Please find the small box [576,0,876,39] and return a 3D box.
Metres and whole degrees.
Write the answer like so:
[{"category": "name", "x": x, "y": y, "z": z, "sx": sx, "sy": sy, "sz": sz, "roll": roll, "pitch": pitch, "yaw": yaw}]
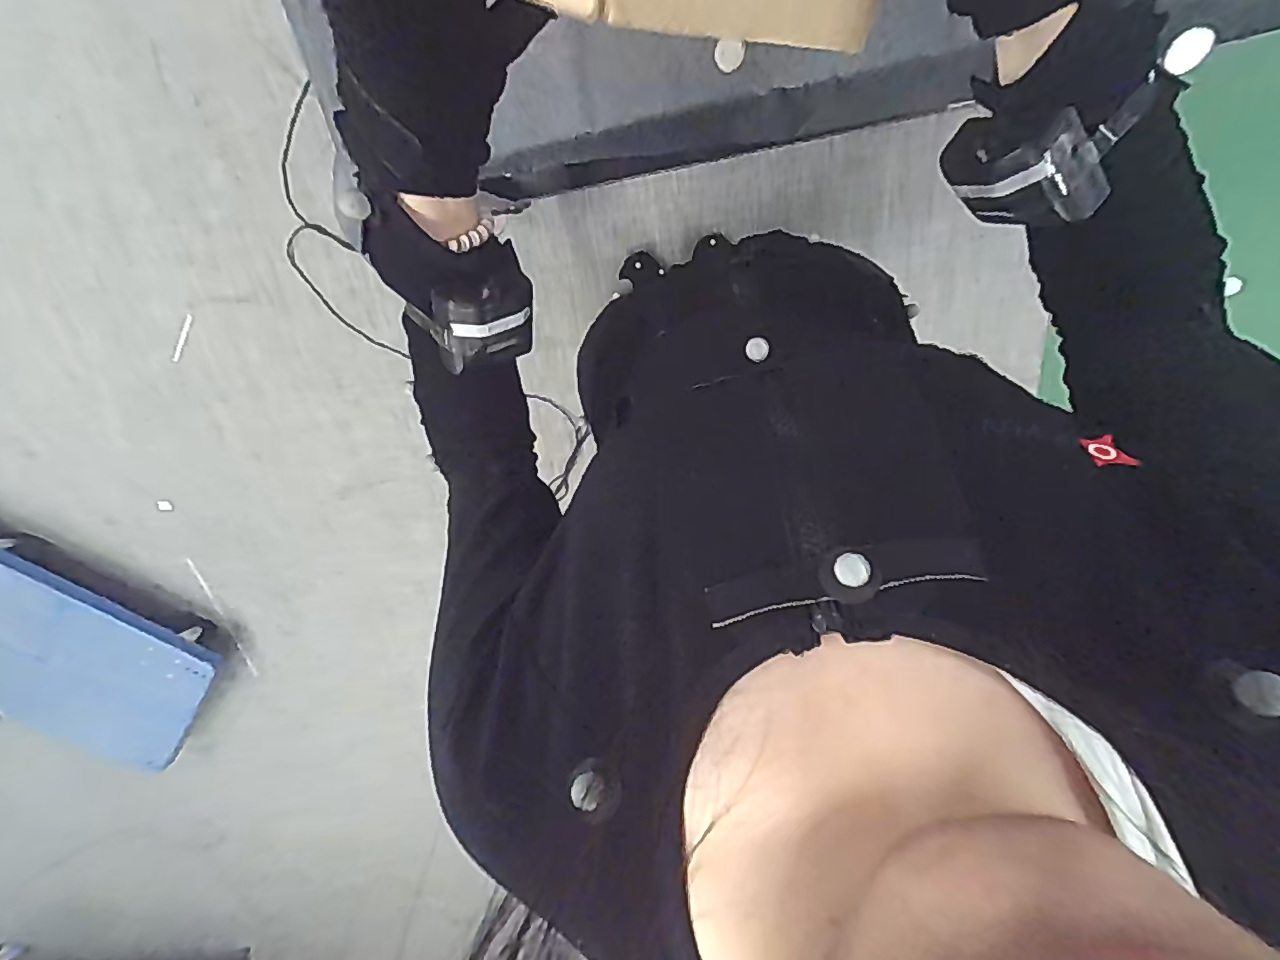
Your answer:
[{"category": "small box", "x": 0.004, "y": -0.276, "z": 0.180, "sx": 0.176, "sy": 0.179, "sz": 0.168, "roll": 41, "pitch": 141, "yaw": 23}]
